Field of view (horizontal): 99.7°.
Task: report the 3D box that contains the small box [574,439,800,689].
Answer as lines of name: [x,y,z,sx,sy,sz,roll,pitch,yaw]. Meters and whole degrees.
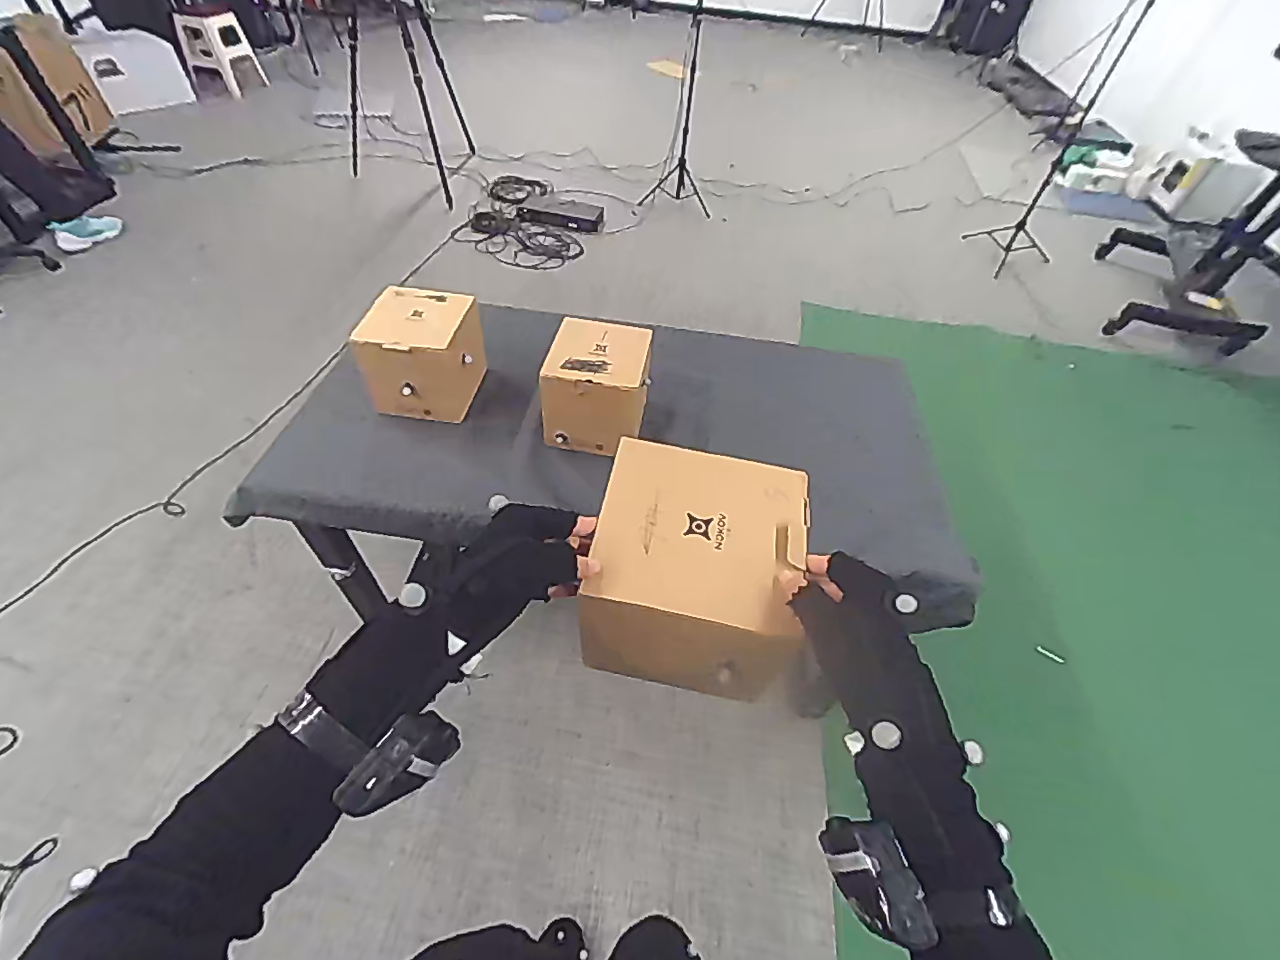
small box: [0.044,0.086,0.521,0.179,0.176,0.168,9,52,5]

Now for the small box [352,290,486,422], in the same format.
small box: [-0.401,-0.230,1.021,0.168,0.176,0.179,7,50,1]

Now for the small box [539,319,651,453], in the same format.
small box: [-0.077,-0.168,0.994,0.168,0.176,0.179,9,48,3]
